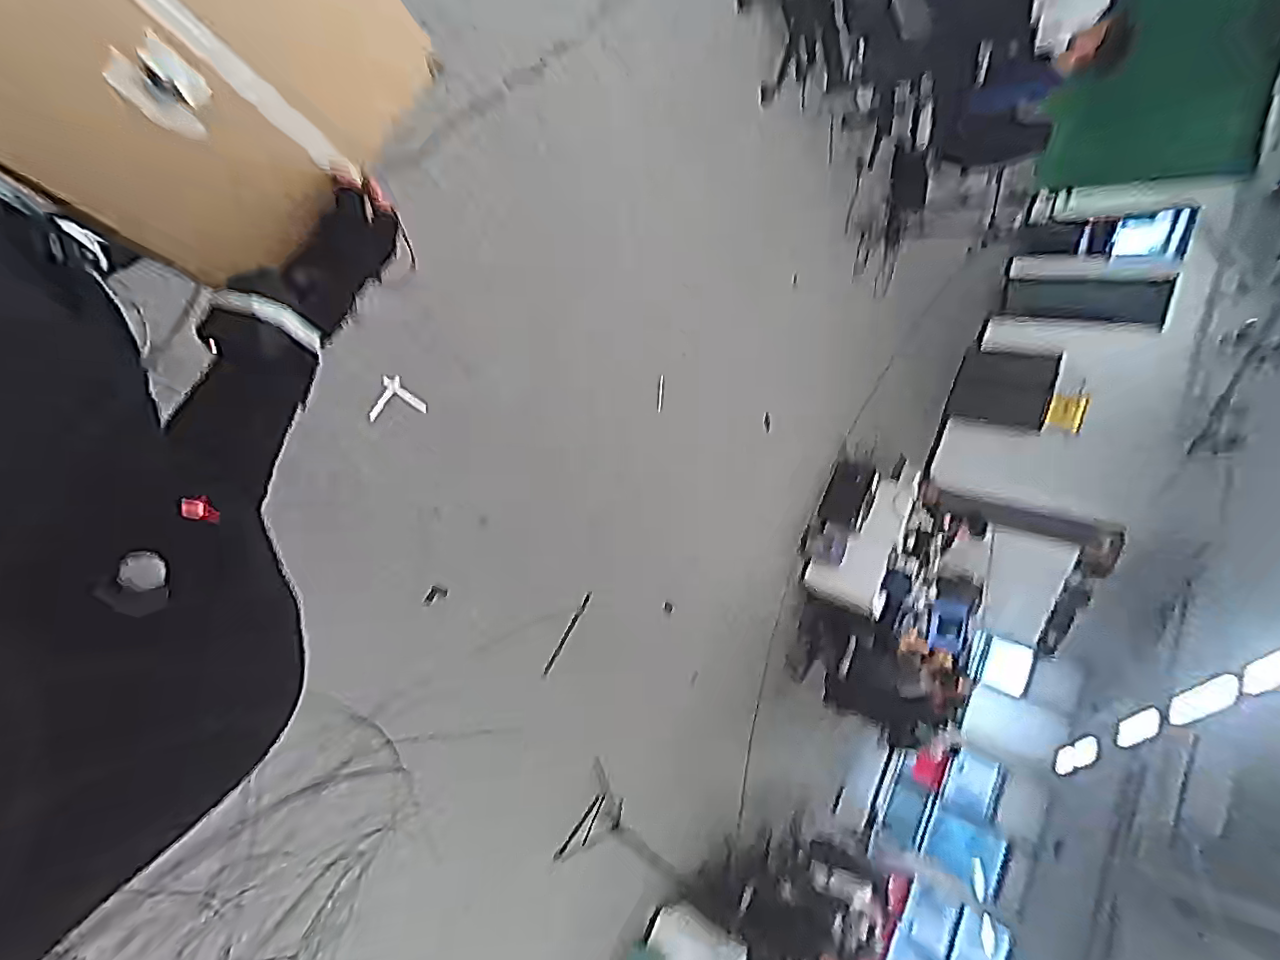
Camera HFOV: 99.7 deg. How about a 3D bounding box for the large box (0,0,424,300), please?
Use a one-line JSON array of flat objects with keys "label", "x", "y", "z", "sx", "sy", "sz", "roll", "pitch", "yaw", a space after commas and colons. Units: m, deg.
[{"label": "large box", "x": -0.487, "y": -0.417, "z": 0.442, "sx": 0.320, "sy": 0.320, "sz": 0.408, "roll": -60, "pitch": 146, "yaw": -5}]
